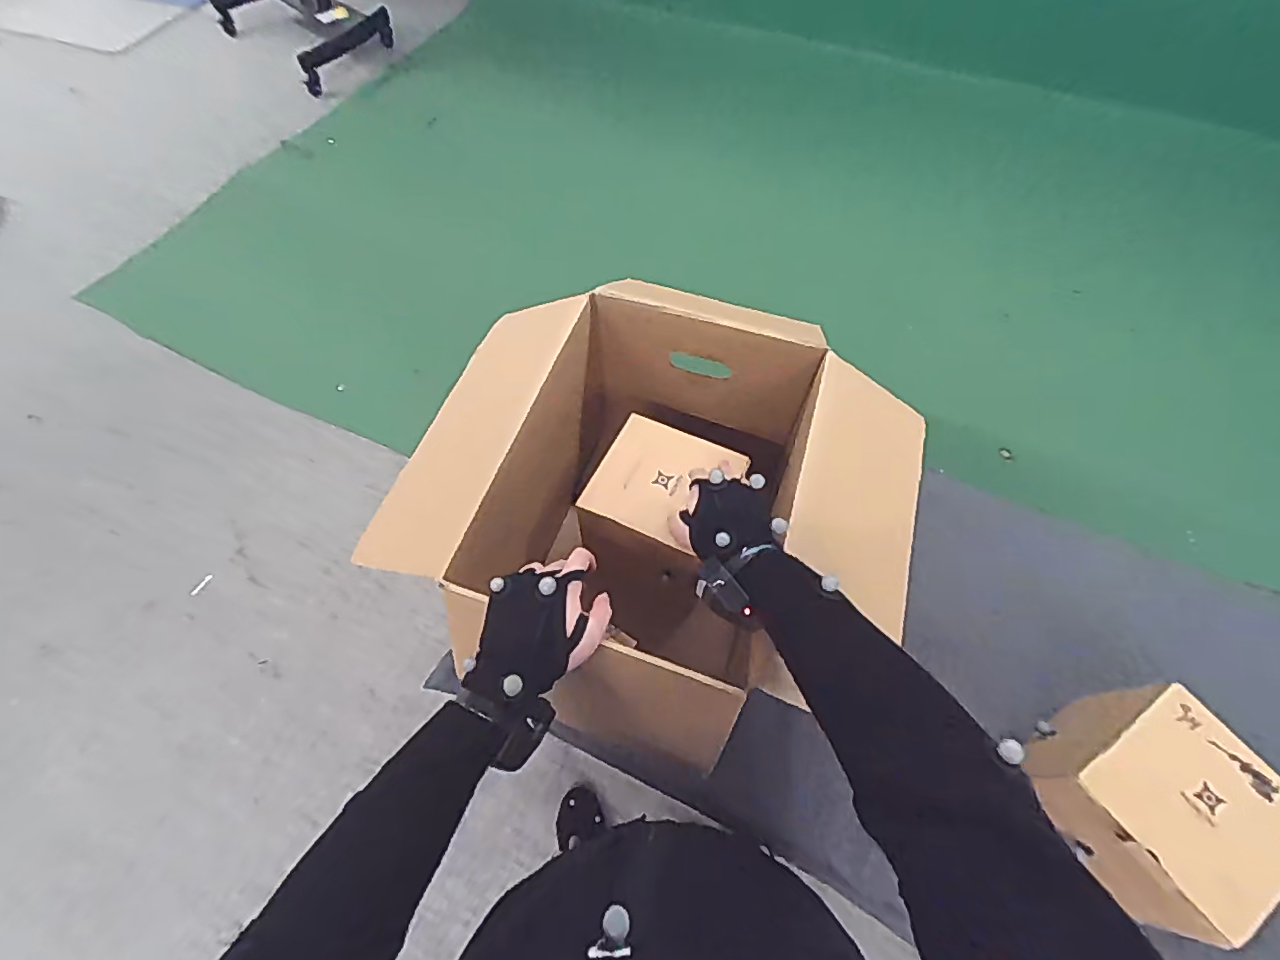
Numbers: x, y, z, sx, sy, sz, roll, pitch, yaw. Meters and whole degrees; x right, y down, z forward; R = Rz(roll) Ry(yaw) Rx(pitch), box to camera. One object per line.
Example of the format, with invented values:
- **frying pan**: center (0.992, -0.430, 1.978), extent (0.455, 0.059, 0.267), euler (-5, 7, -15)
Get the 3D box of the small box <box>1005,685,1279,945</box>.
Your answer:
- **small box**: center (0.562, 0.364, 0.612), extent (0.179, 0.176, 0.168), euler (-30, 64, -13)
